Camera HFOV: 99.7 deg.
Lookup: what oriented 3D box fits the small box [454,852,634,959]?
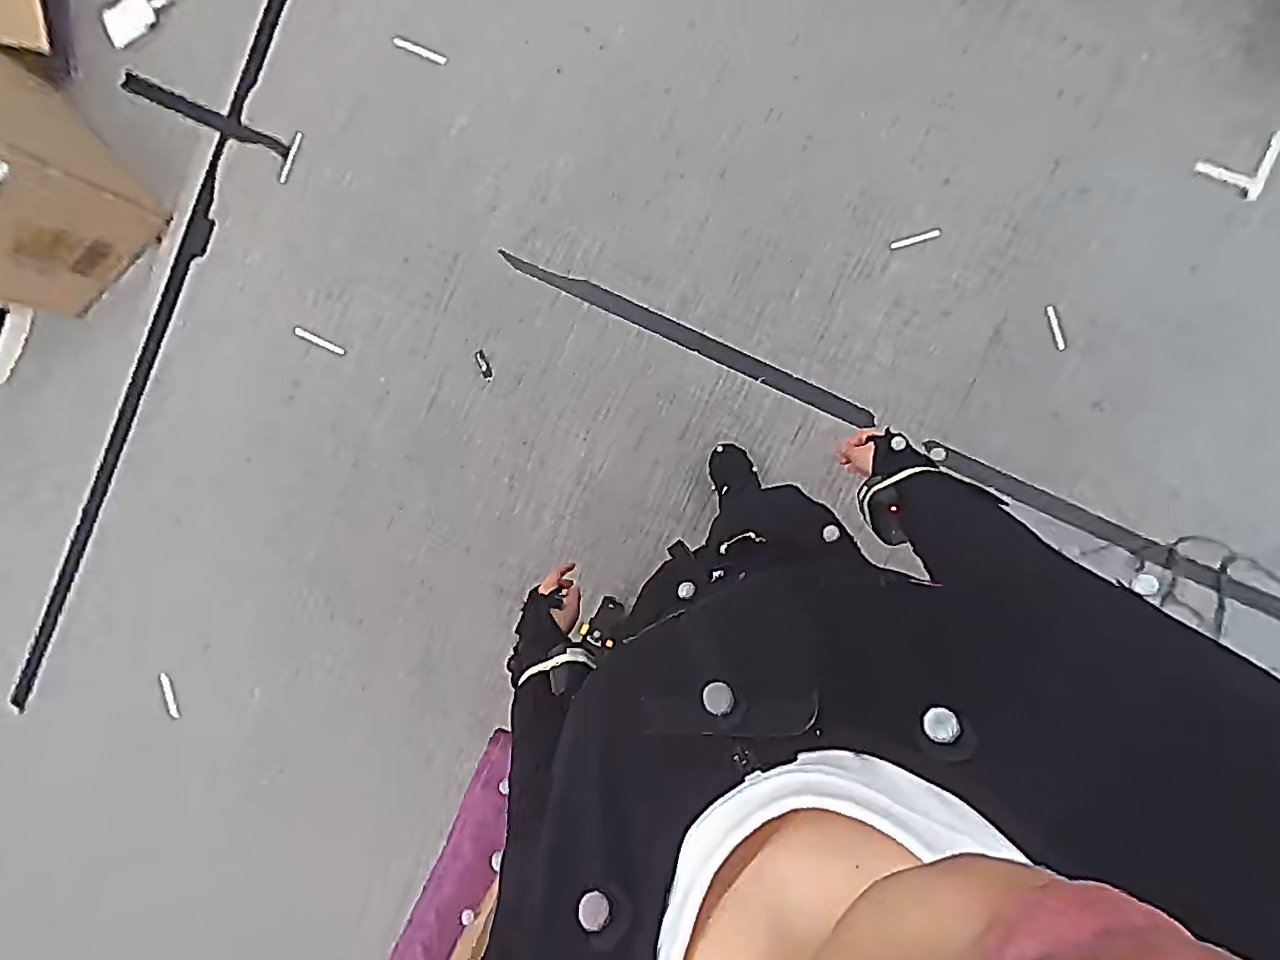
[{"bbox_3d":[-0.120,0.574,0.607,0.179,0.176,0.168,30,95,3],"label":"small box"}]
